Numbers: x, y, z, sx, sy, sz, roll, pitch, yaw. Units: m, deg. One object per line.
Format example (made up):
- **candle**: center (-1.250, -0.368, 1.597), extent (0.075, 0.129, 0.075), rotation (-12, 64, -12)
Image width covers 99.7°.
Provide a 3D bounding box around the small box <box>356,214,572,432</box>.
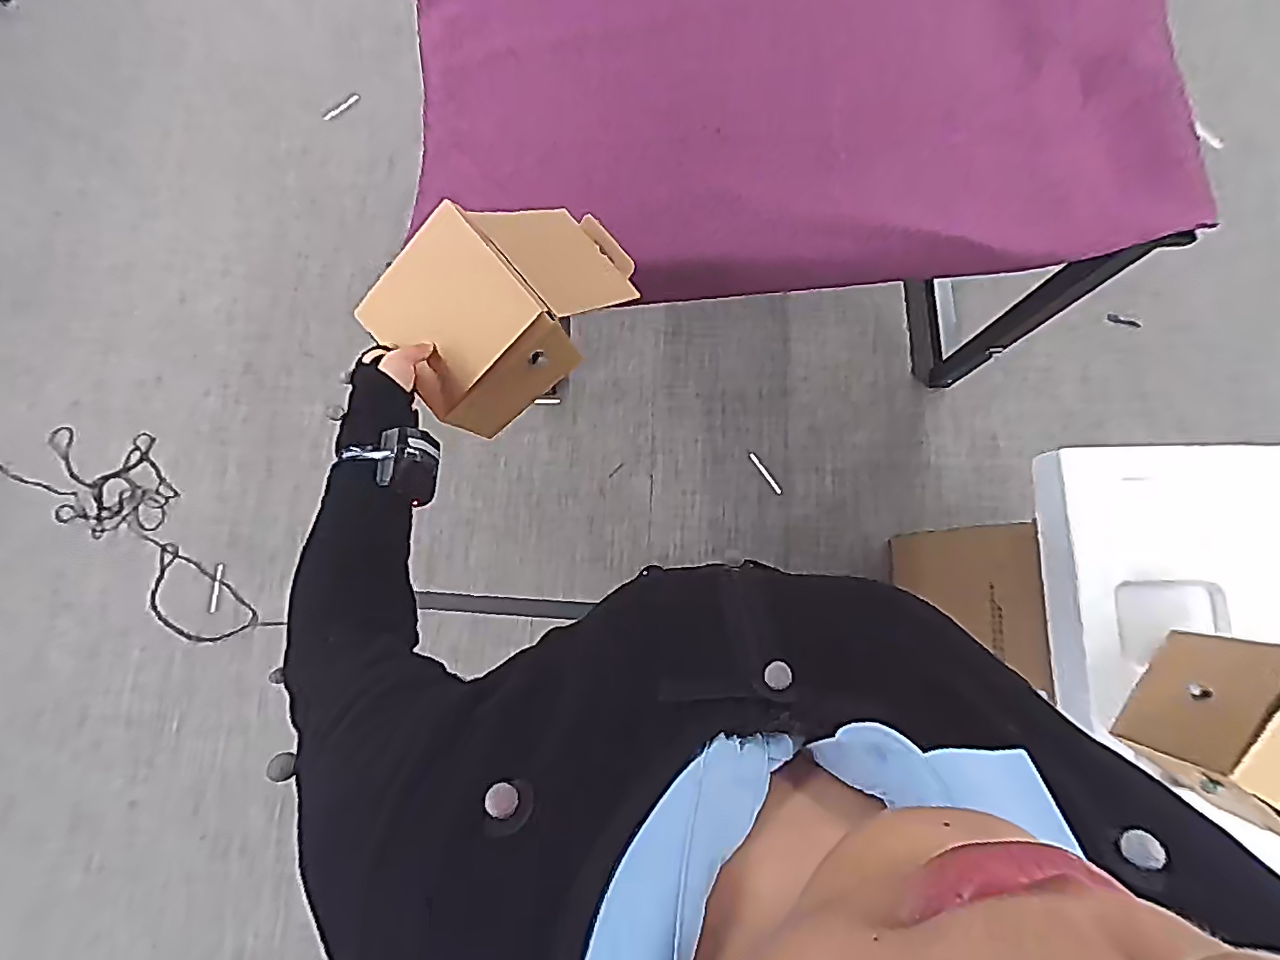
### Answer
- **small box**: center (-0.203, -0.183, 0.686), extent (0.179, 0.176, 0.168), rotation (-40, 85, 1)
